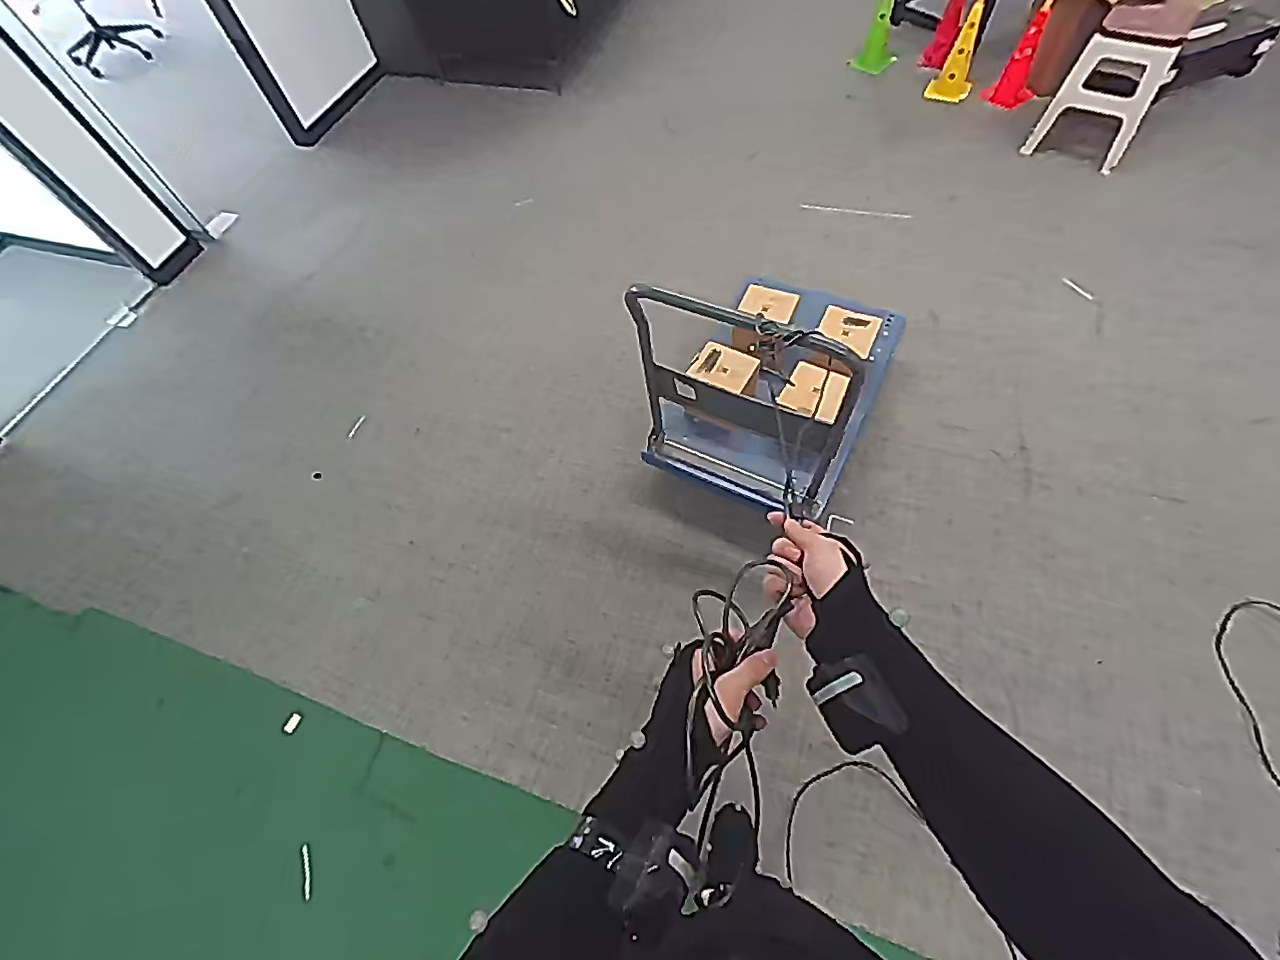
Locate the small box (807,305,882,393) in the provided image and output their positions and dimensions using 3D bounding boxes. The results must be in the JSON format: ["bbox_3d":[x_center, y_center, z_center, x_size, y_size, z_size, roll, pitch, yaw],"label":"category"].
[{"bbox_3d":[0.624,-0.403,1.673,0.168,0.176,0.179,21,66,19],"label":"small box"}]

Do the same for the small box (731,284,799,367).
[{"bbox_3d":[0.401,-0.497,1.755,0.168,0.176,0.179,20,65,17],"label":"small box"}]

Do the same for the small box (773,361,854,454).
[{"bbox_3d":[0.500,-0.208,1.582,0.168,0.176,0.179,25,67,20],"label":"small box"}]
